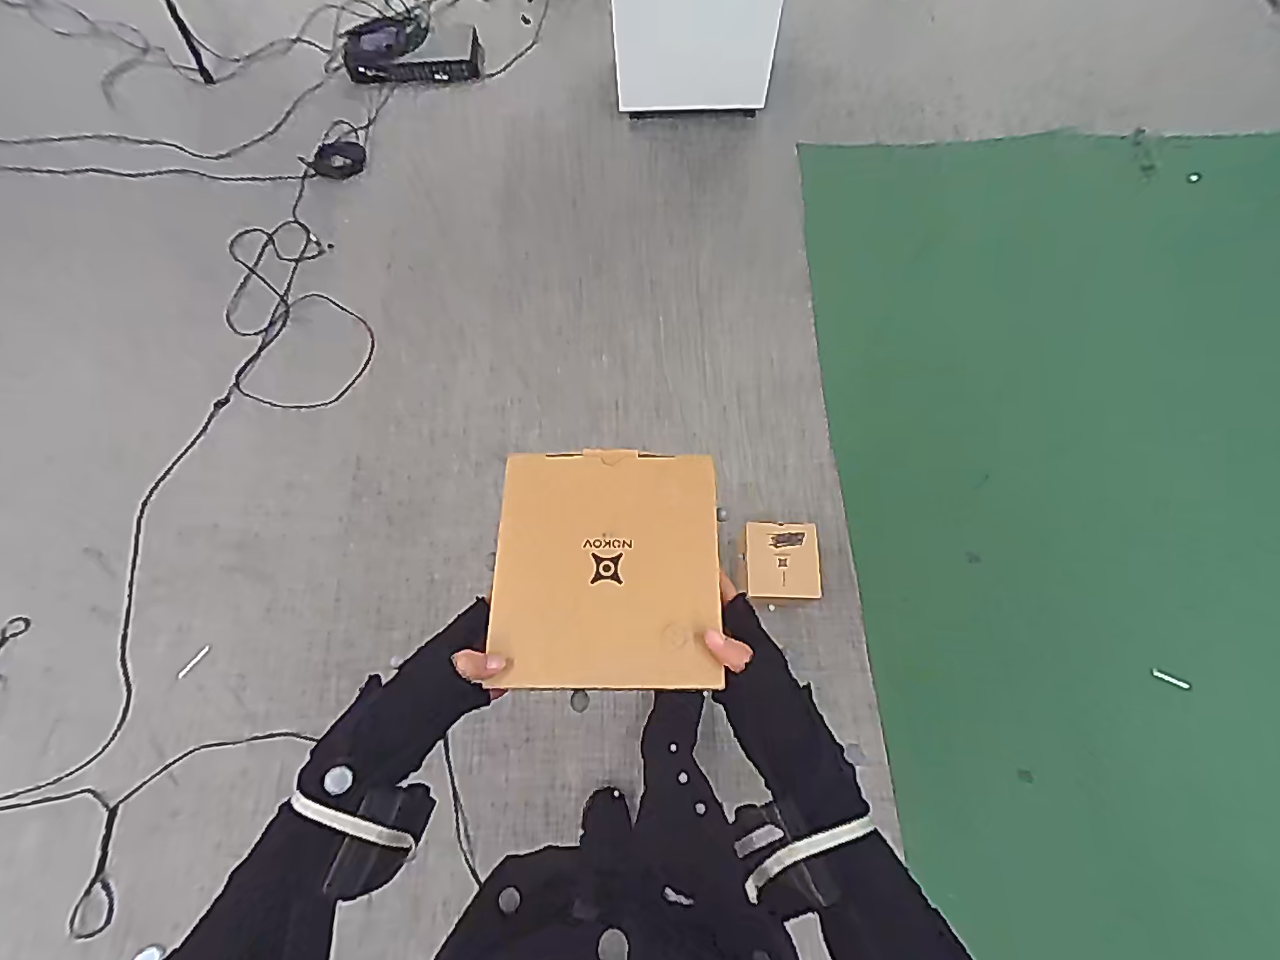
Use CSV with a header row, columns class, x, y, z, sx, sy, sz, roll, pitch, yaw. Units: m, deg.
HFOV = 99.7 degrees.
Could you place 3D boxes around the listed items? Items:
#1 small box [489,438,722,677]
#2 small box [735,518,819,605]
class,x,y,z,sx,sy,sz,roll,pitch,yaw
small box,-0.023,0.078,0.477,0.168,0.176,0.179,0,67,-1
small box,0.324,0.201,1.310,0.168,0.176,0.179,1,71,2
